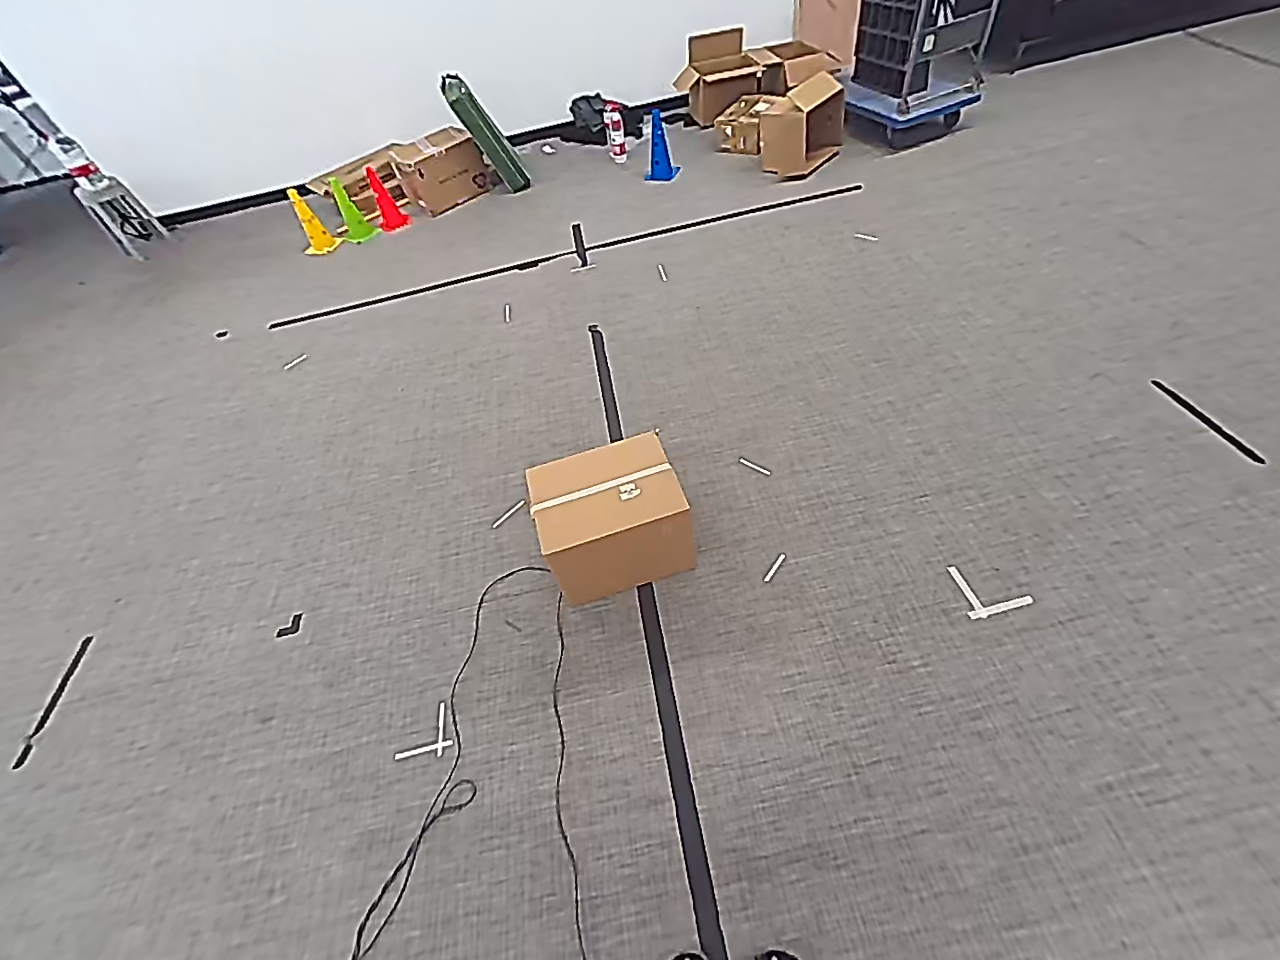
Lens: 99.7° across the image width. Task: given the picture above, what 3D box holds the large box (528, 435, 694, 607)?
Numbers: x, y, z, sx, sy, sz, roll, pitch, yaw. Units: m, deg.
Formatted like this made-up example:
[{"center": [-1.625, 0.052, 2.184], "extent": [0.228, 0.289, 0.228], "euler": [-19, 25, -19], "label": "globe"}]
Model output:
[{"center": [-0.081, 0.125, 1.611], "extent": [0.408, 0.320, 0.320], "euler": [-17, 51, -5], "label": "large box"}]
